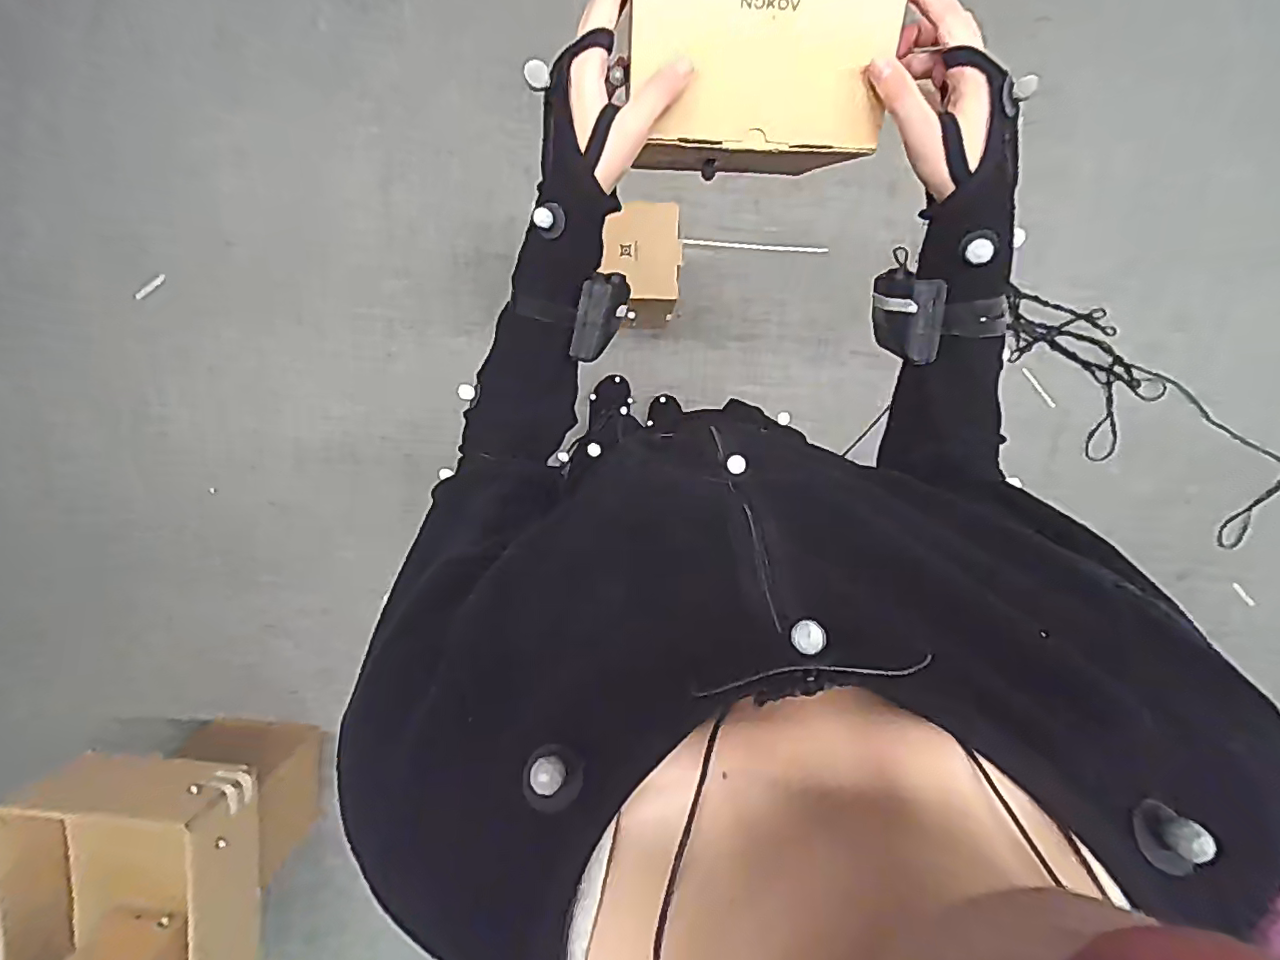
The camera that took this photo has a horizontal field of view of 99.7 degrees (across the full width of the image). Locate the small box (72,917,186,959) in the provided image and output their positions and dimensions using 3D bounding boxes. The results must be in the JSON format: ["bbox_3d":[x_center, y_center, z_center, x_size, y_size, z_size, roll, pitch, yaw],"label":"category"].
[{"bbox_3d":[-1.104,1.072,1.137,0.168,0.176,0.179,7,97,0],"label":"small box"}]

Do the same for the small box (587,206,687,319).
[{"bbox_3d":[-0.007,-0.408,1.038,0.179,0.176,0.168,2,97,0],"label":"small box"}]

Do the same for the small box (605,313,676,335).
[{"bbox_3d":[0.005,-0.463,1.361,0.179,0.176,0.168,3,97,0],"label":"small box"}]
